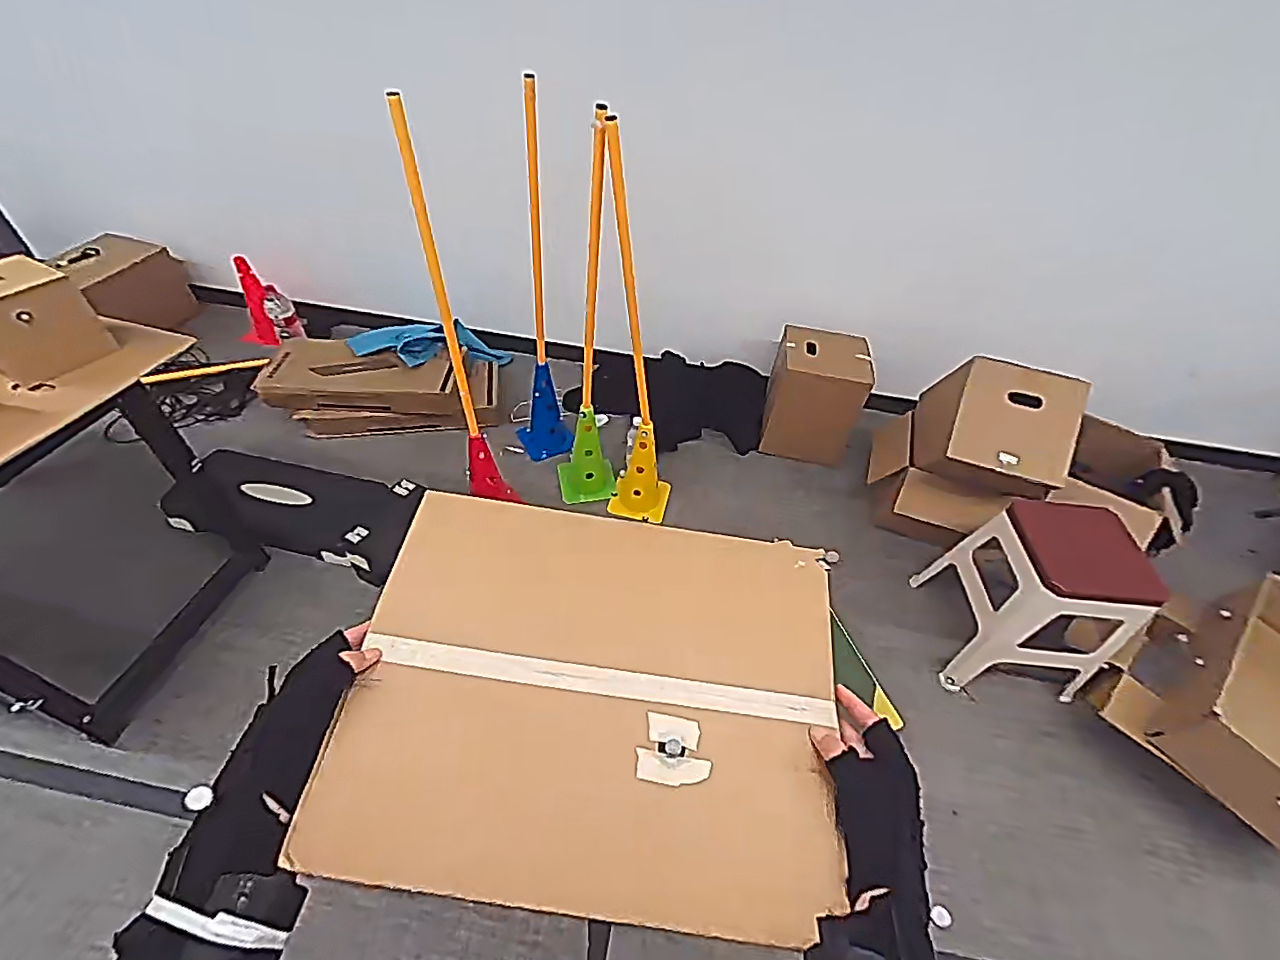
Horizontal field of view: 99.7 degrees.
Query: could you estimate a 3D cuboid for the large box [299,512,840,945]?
[{"bbox_3d":[-0.049,0.264,0.594,0.408,0.320,0.320,9,57,-1],"label":"large box"}]
